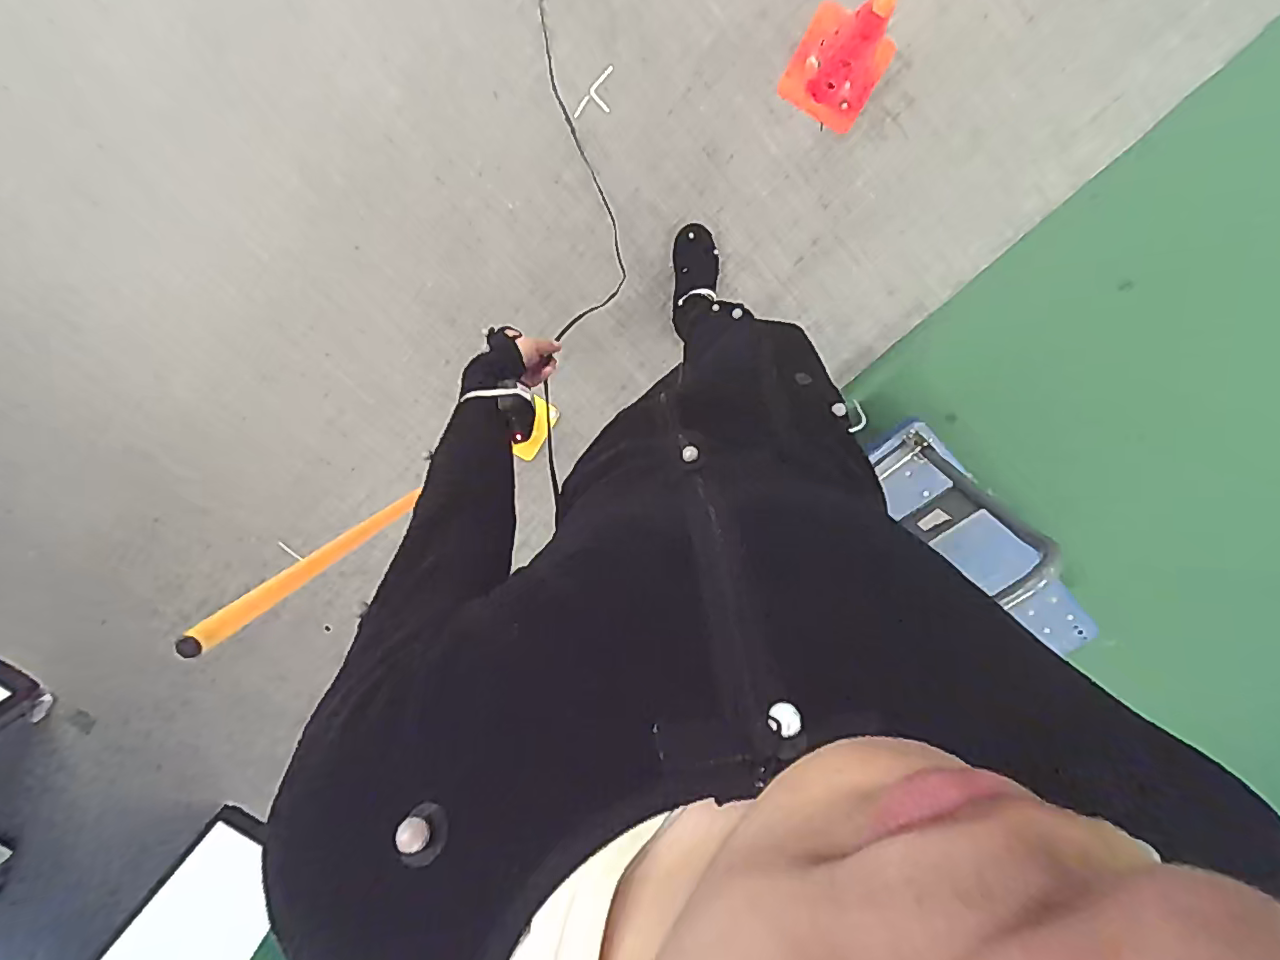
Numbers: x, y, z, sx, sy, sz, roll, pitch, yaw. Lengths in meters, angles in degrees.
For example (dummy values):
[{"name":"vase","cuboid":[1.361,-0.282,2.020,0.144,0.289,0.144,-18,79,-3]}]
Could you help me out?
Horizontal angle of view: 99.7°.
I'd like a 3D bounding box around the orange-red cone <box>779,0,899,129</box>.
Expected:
[{"name":"orange-red cone","cuboid":[0.432,-0.882,1.075,0.198,0.360,0.199,29,111,-7]}]
